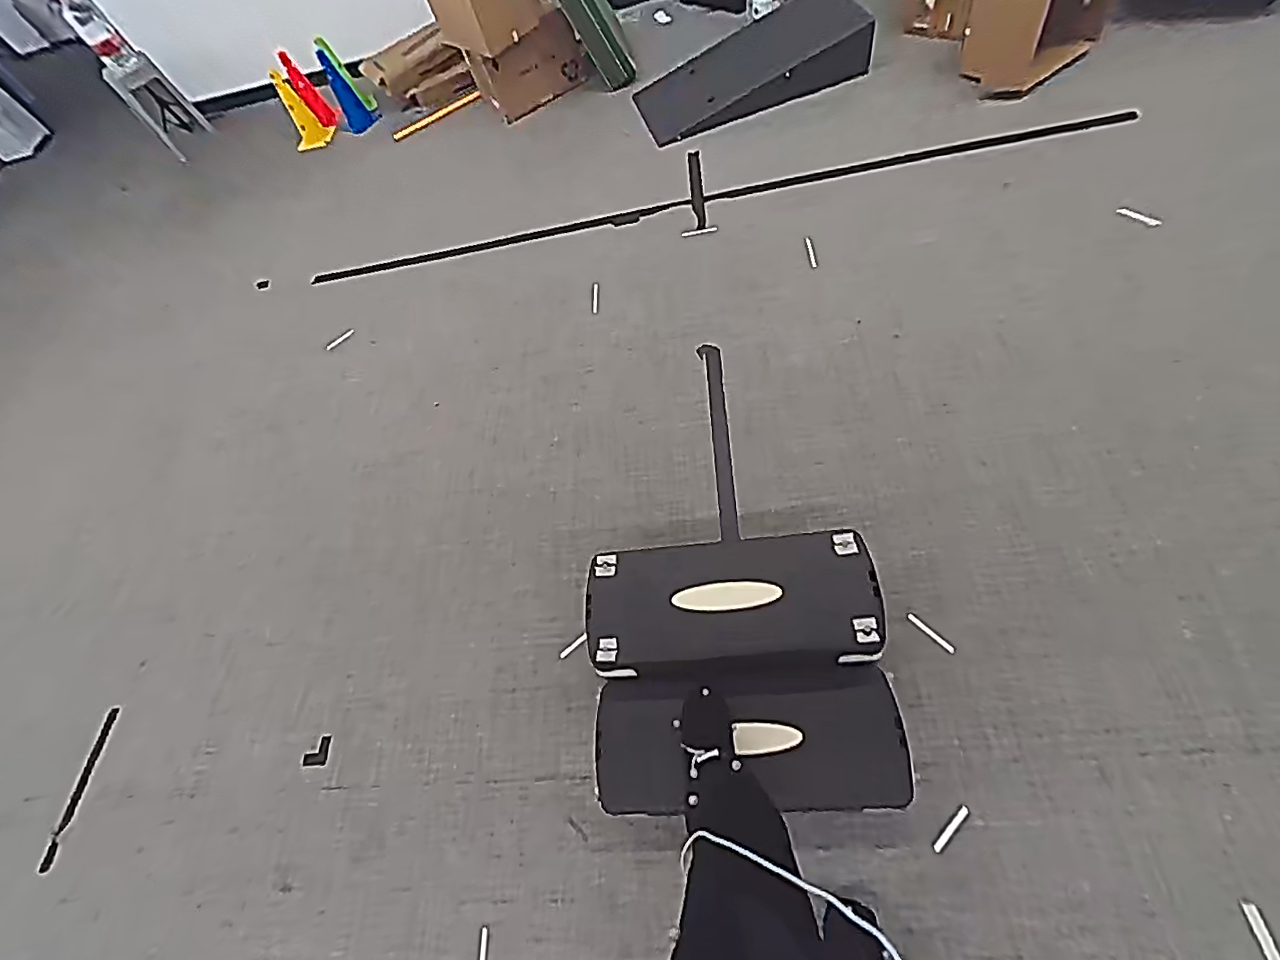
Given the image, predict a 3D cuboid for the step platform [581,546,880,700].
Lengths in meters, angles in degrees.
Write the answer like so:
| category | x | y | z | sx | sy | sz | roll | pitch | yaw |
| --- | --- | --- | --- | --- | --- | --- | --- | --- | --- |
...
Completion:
| category | x | y | z | sx | sy | sz | roll | pitch | yaw |
| --- | --- | --- | --- | --- | --- | --- | --- | --- | --- |
| step platform | 0.200 | 0.346 | 1.298 | 0.684 | 0.204 | 0.286 | -7 | 61 | 8 |
